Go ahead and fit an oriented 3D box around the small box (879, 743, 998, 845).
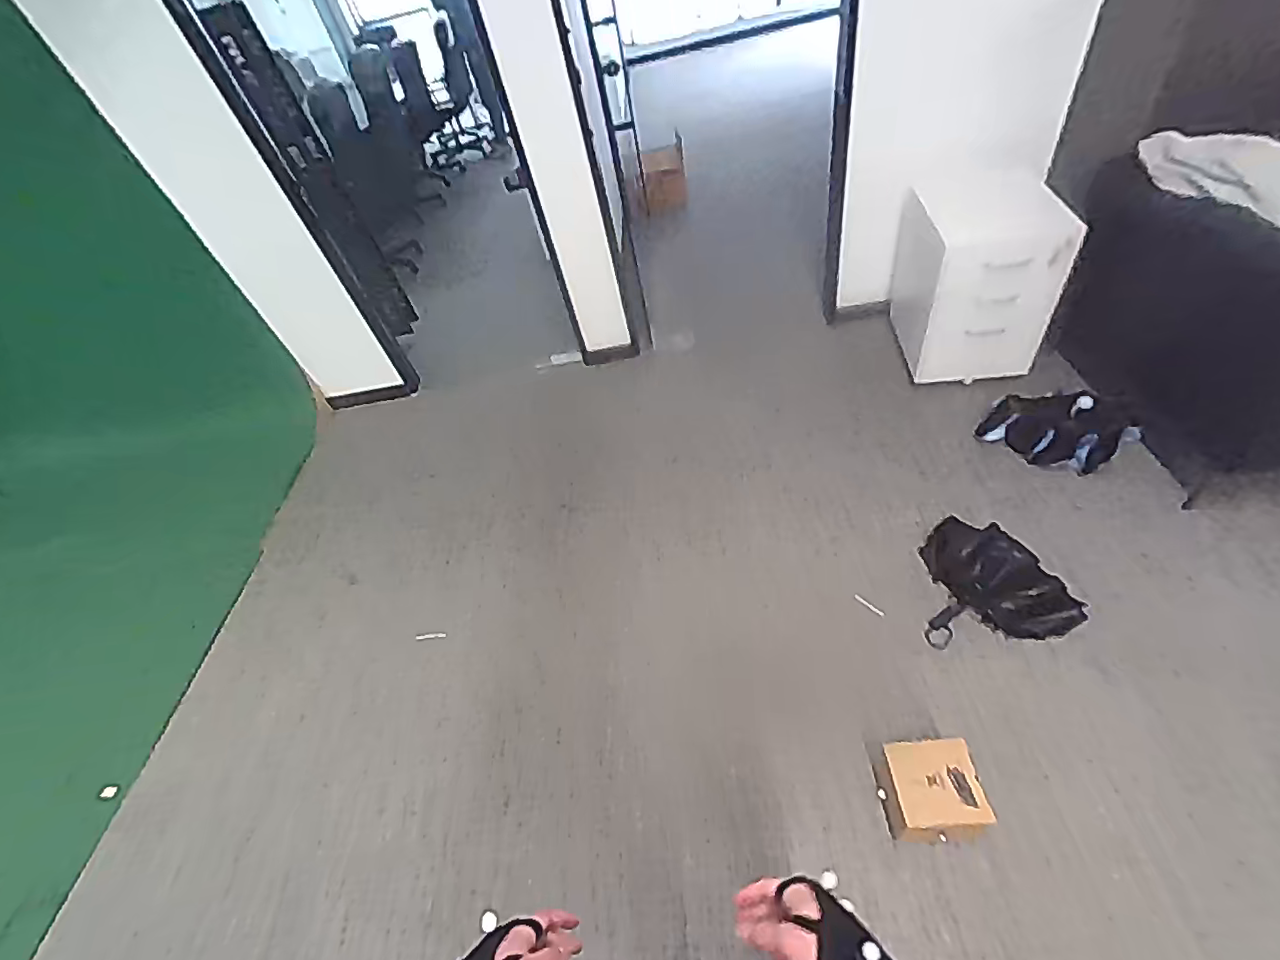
[{"bbox_3d":[0.655,0.704,1.210,0.179,0.176,0.168,-9,46,9],"label":"small box"}]
